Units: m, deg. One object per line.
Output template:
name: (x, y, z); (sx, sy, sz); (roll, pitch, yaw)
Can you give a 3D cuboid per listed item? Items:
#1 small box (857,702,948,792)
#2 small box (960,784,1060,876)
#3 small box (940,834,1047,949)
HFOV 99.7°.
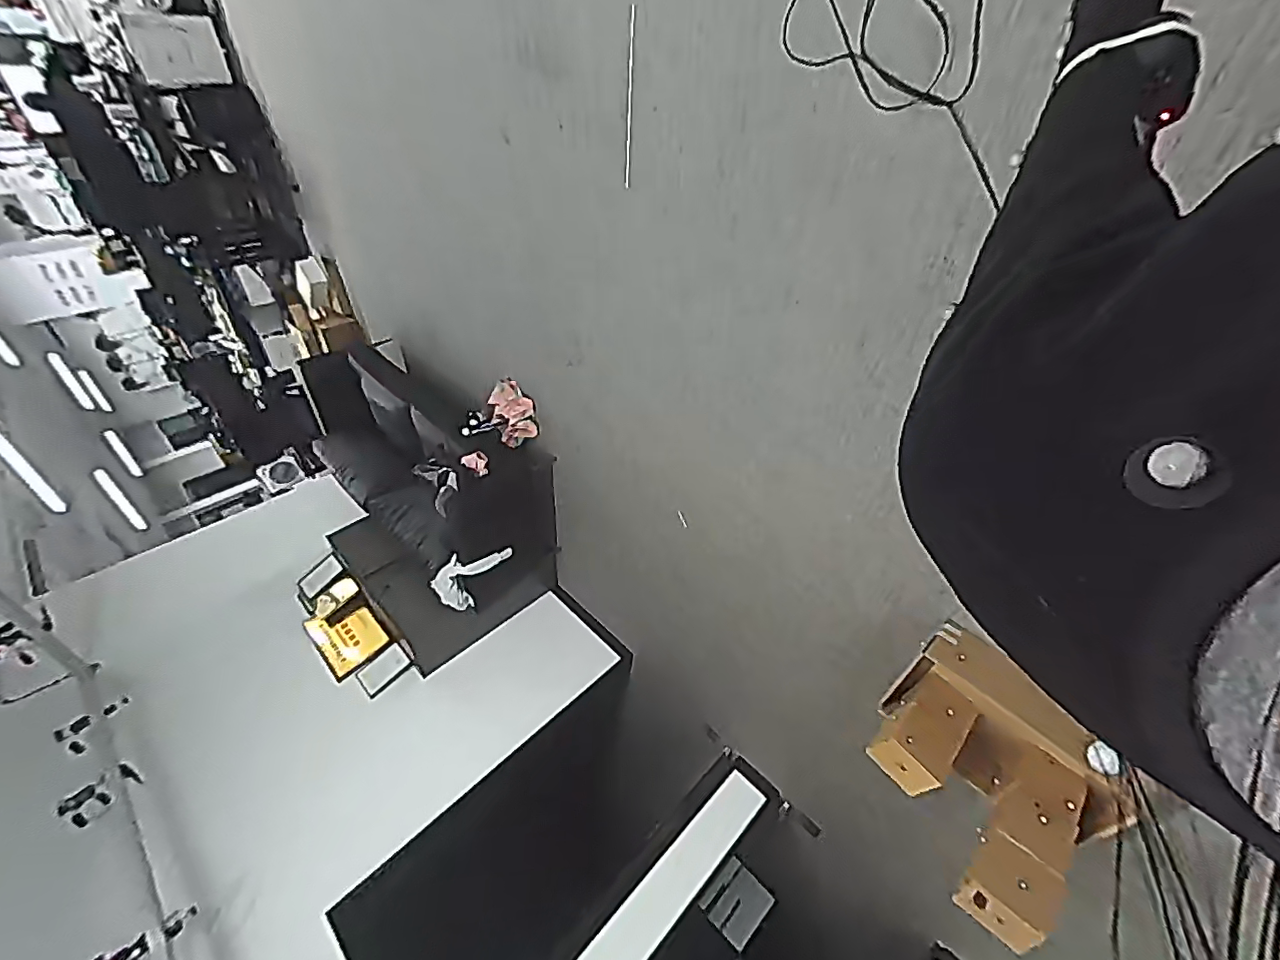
small box: (0.844, 0.853, 1.734); (0.179, 0.176, 0.168); (44, 142, 20)
small box: (1.078, 1.036, 1.574); (0.168, 0.176, 0.179); (34, 138, 30)
small box: (0.966, 1.113, 1.481); (0.179, 0.176, 0.168); (31, 137, 32)
